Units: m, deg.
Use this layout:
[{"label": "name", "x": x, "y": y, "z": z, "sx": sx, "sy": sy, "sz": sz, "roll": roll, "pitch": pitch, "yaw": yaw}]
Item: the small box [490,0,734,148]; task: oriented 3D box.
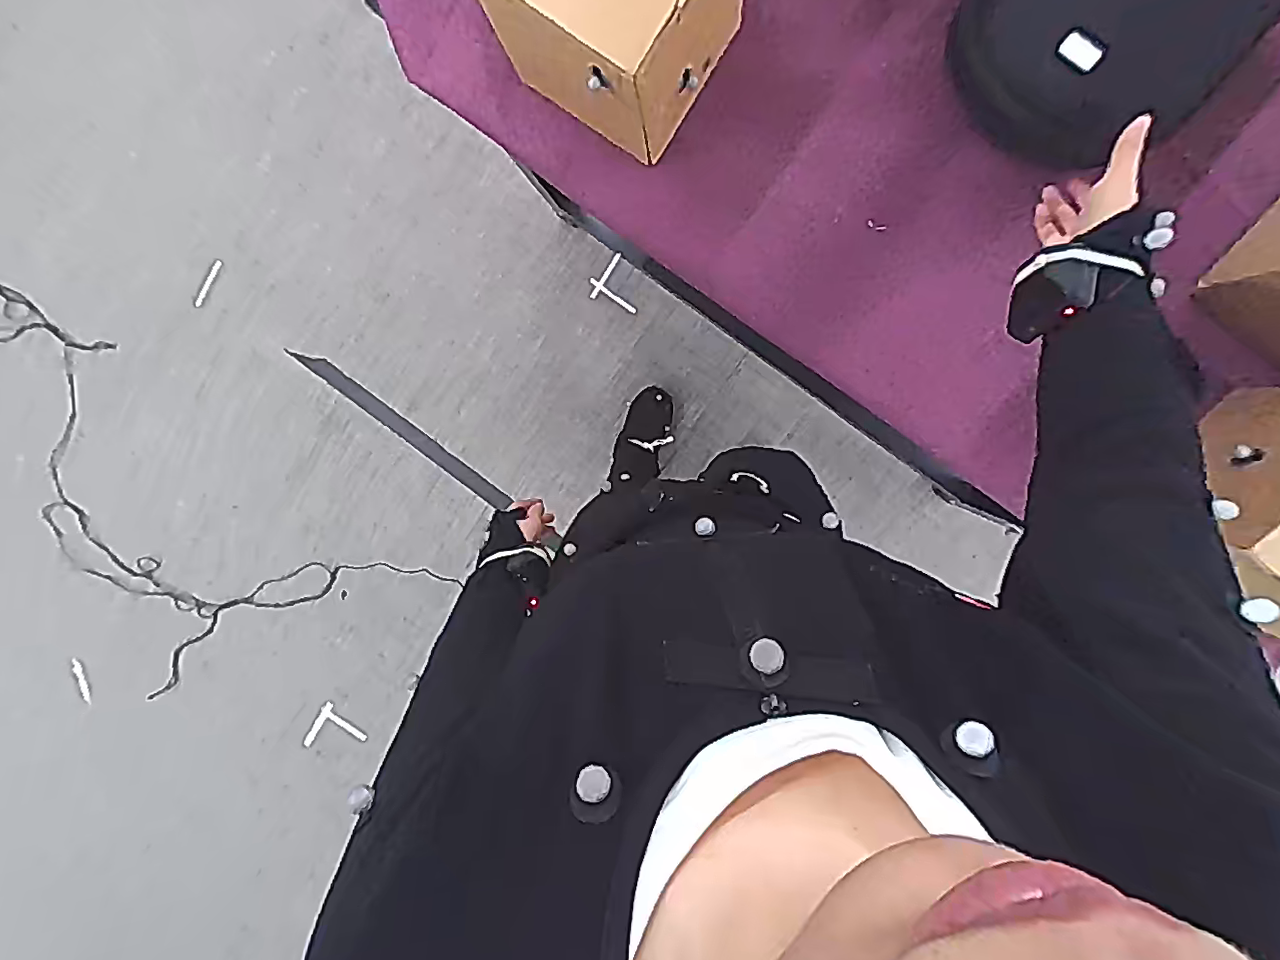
[{"label": "small box", "x": -0.025, "y": -0.448, "z": 0.492, "sx": 0.179, "sy": 0.176, "sz": 0.168, "roll": 33, "pitch": 100, "yaw": -1}]
